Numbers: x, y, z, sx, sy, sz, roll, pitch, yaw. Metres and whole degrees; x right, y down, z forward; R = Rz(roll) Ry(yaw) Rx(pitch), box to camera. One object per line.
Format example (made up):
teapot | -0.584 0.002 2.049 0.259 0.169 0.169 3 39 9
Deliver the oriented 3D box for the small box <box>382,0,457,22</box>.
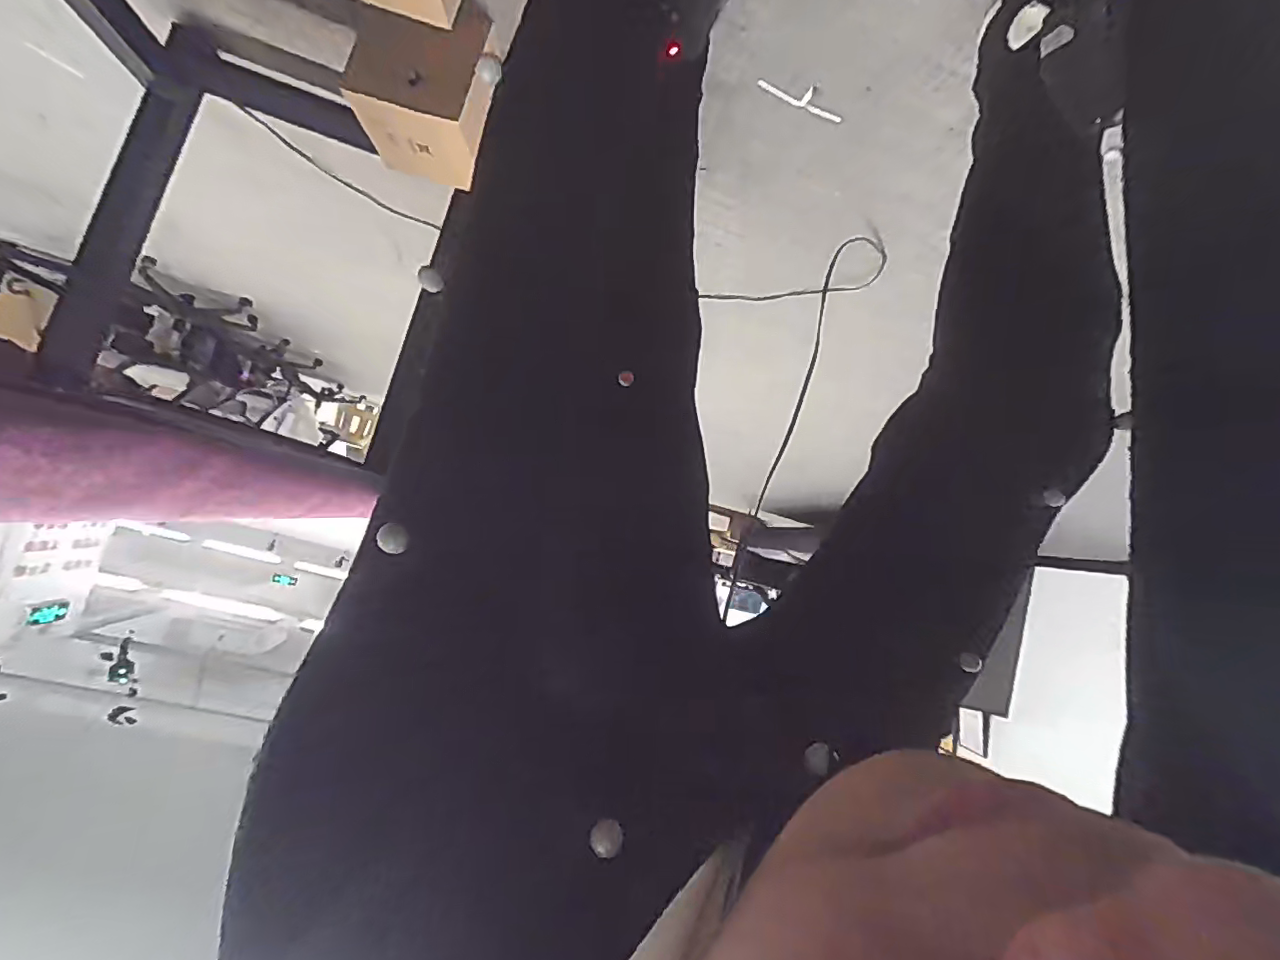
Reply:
small box | -0.256 -0.609 0.510 0.168 0.176 0.179 17 173 -4

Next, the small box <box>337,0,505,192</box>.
small box | -0.315 -0.584 0.822 0.179 0.176 0.168 16 173 -2
